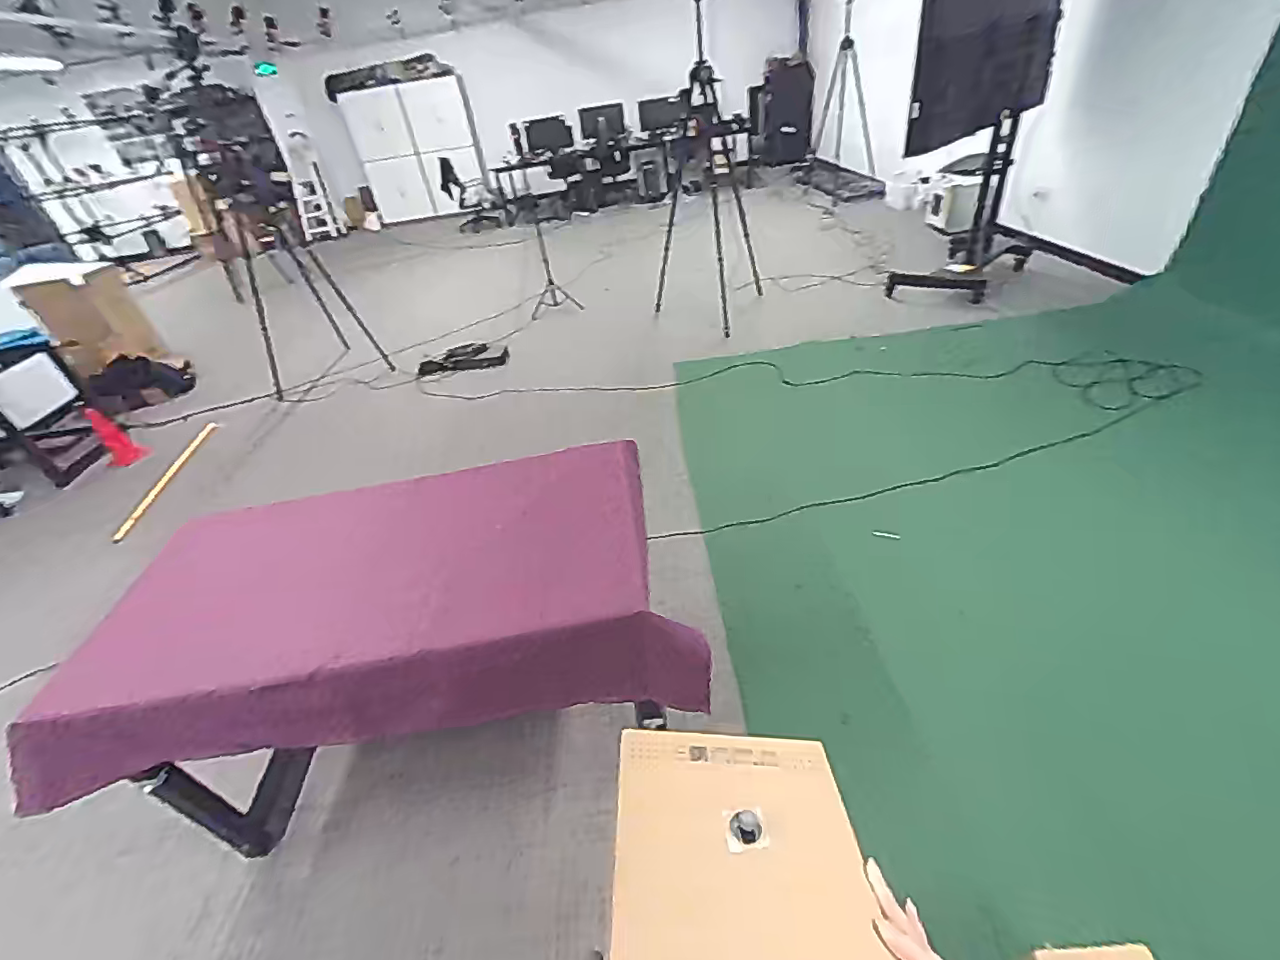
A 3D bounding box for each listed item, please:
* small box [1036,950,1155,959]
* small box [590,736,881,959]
[{"bbox_3d":[0.729,0.862,0.843,0.179,0.176,0.168,-7,36,4],"label":"small box"},{"bbox_3d":[0.048,0.318,0.401,0.168,0.179,0.176,4,23,-1],"label":"small box"}]
